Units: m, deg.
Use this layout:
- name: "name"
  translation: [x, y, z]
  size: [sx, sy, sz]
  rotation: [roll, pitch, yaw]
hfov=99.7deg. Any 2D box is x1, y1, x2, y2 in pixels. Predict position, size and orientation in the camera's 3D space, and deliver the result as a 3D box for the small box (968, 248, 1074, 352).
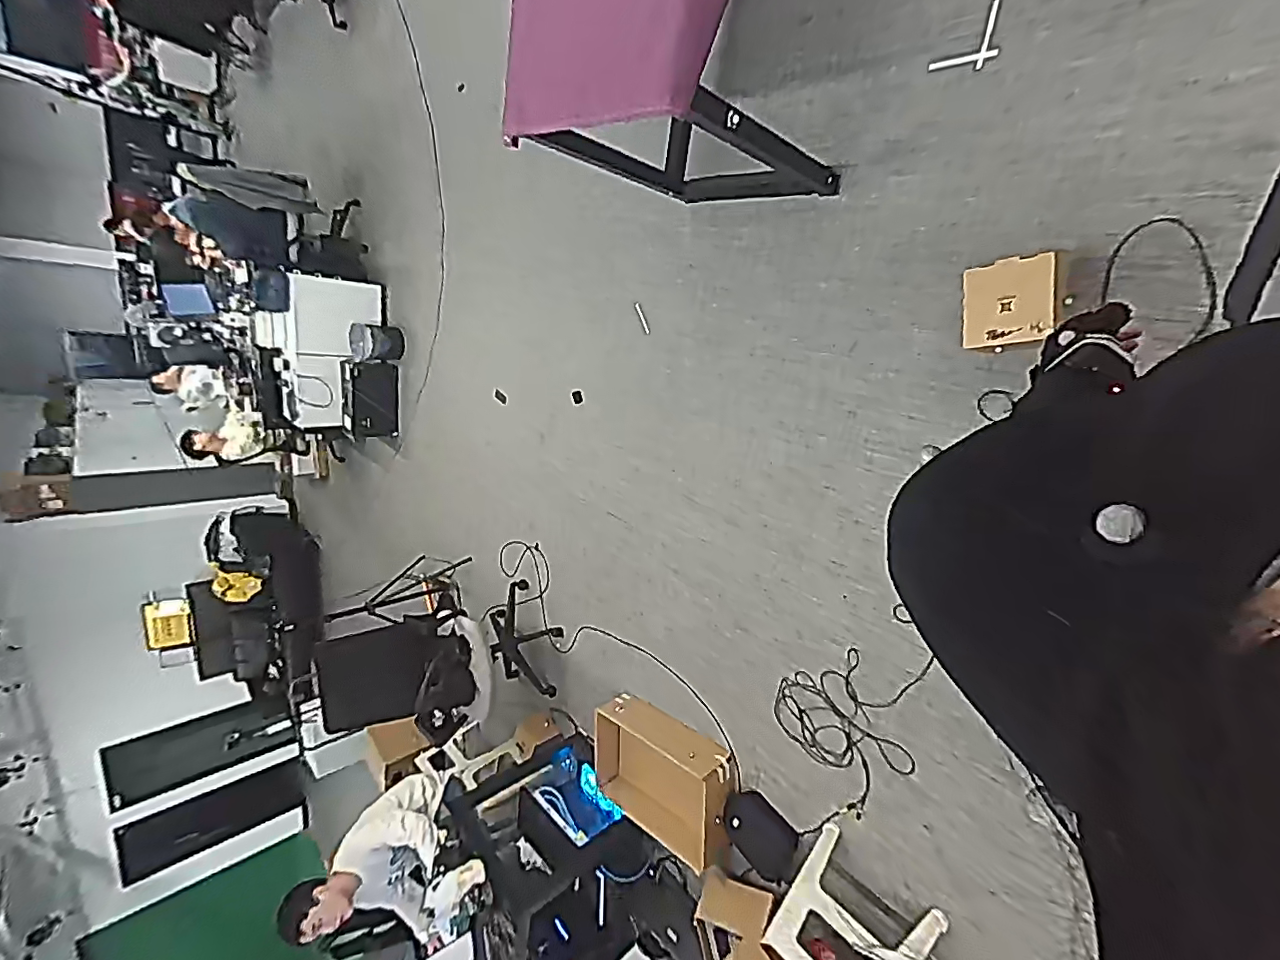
- name: "small box"
  translation: [0.839, -0.386, 1.191]
  size: [0.168, 0.176, 0.179]
  rotation: [3, 97, 45]
